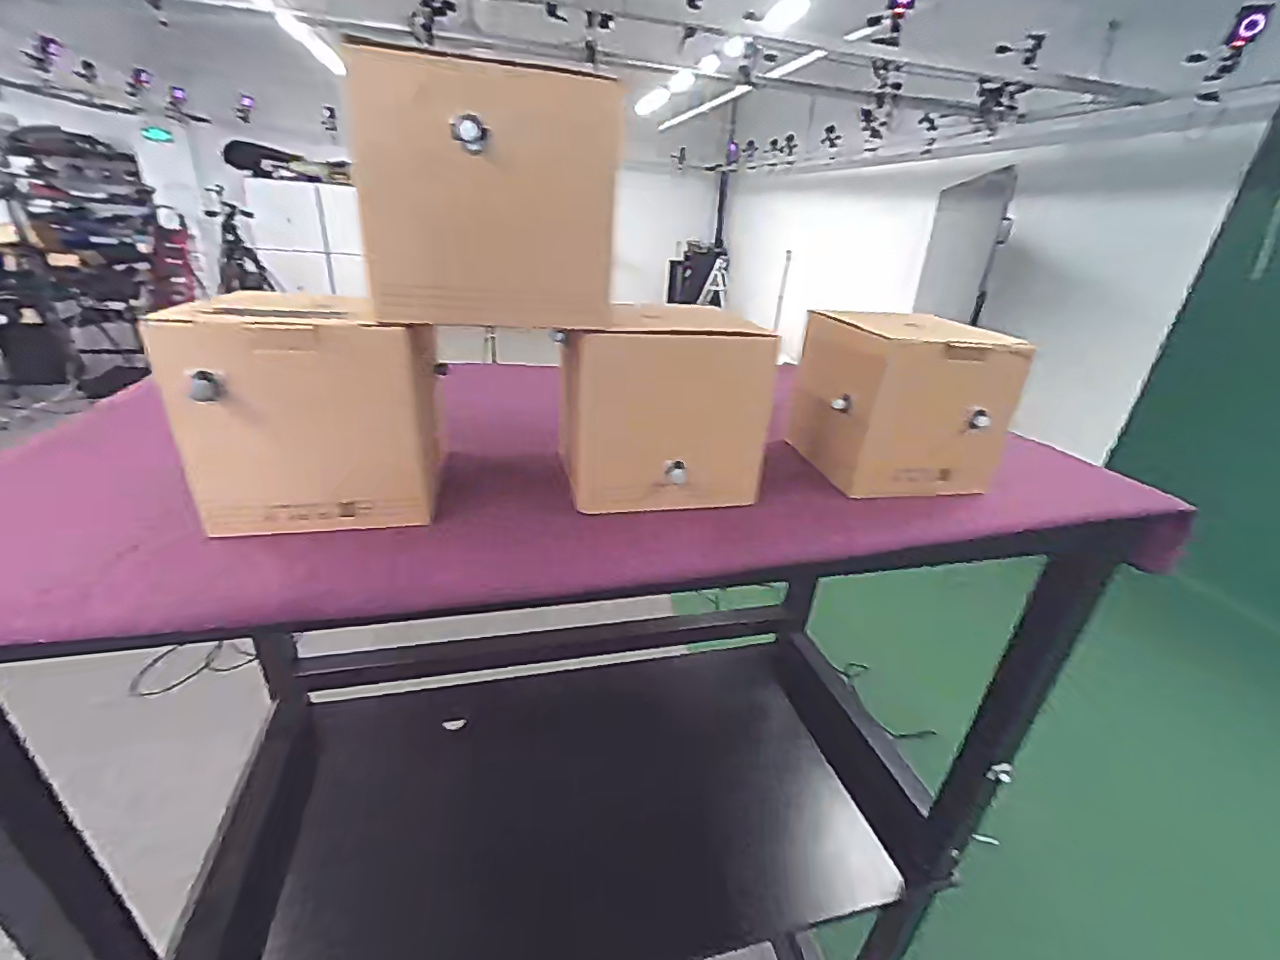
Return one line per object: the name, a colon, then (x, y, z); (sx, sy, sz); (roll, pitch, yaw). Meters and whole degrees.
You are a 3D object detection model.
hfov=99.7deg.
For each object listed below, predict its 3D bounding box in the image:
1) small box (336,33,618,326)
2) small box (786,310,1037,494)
small box: (-0.118, -0.223, 0.441); (0.179, 0.176, 0.168); (-1, 25, -13)
small box: (0.285, -0.091, 0.612); (0.168, 0.176, 0.179); (-1, 26, -10)
